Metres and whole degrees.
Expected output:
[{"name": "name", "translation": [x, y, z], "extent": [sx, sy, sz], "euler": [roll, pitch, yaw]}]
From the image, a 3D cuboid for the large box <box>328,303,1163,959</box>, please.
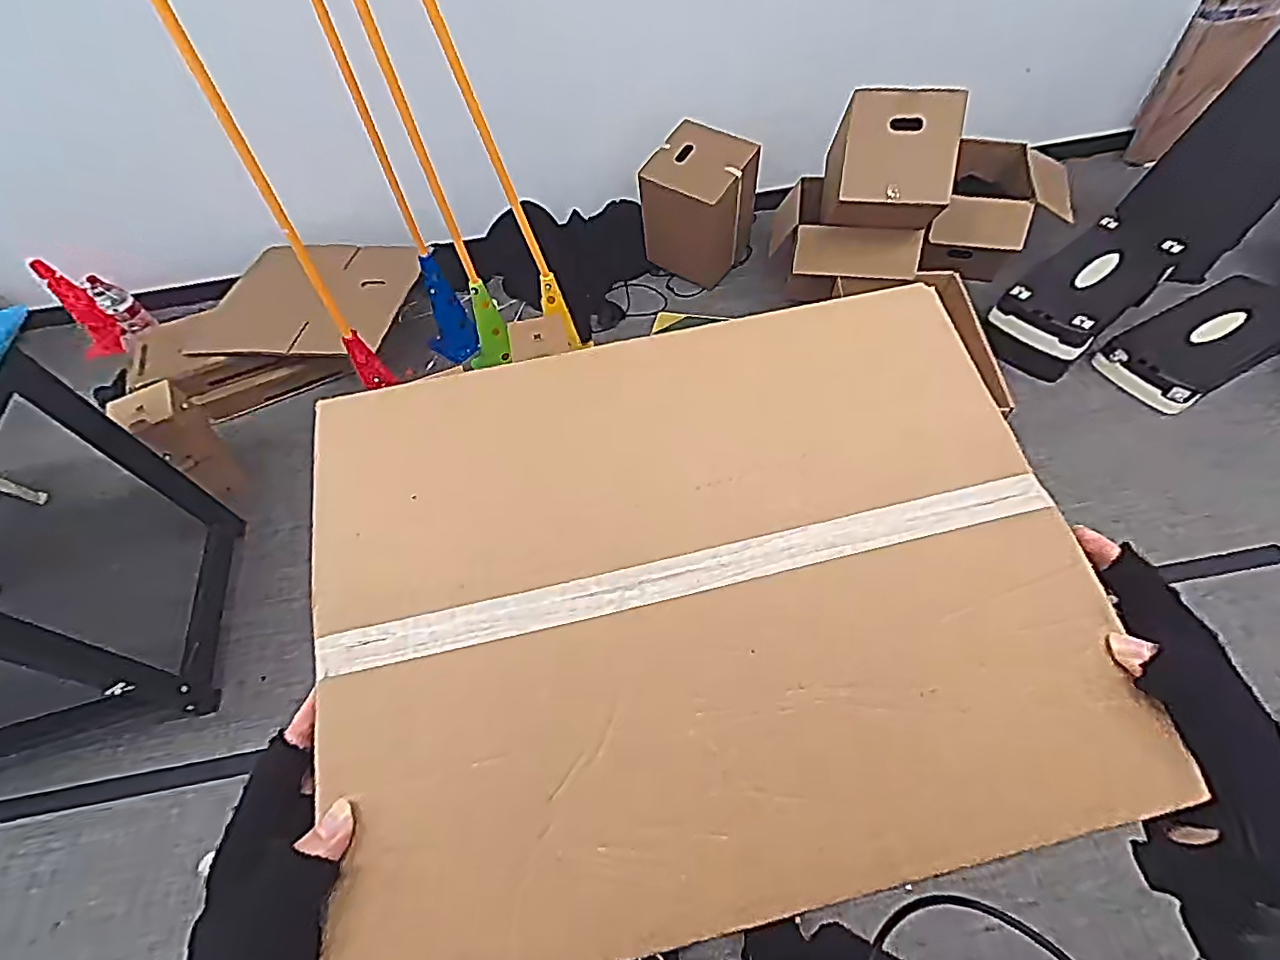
[{"name": "large box", "translation": [0.035, 0.114, 0.440], "extent": [0.408, 0.320, 0.320], "euler": [-13, 68, -4]}]
